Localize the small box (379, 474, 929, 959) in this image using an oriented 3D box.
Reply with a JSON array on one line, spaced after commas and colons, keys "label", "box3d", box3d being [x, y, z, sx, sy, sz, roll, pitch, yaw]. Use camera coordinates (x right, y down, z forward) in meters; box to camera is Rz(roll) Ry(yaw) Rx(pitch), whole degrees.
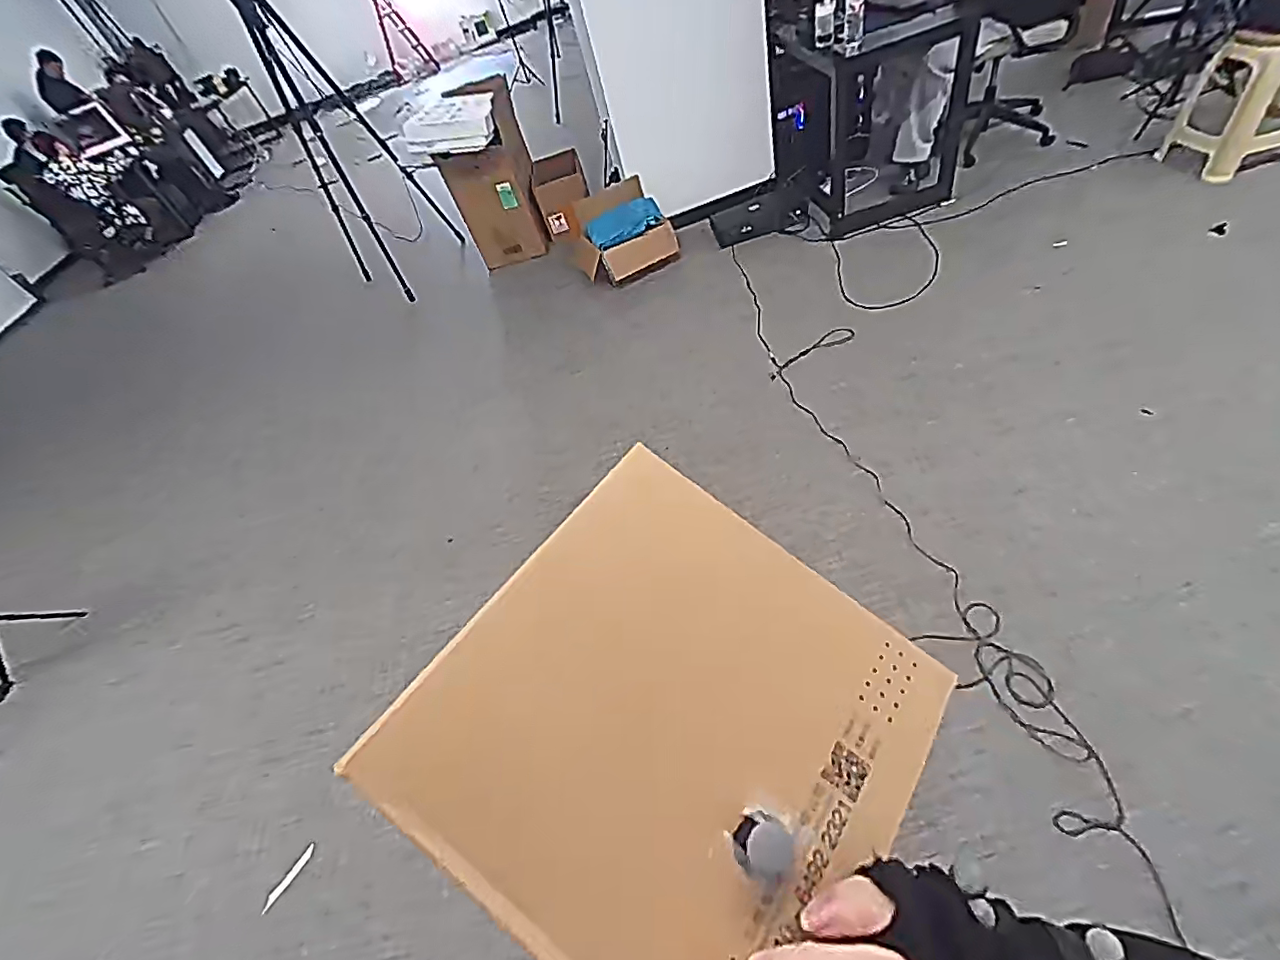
[{"label": "small box", "box3d": [0.006, 0.136, 0.287, 0.176, 0.179, 0.168, 37, 63, 9]}]
